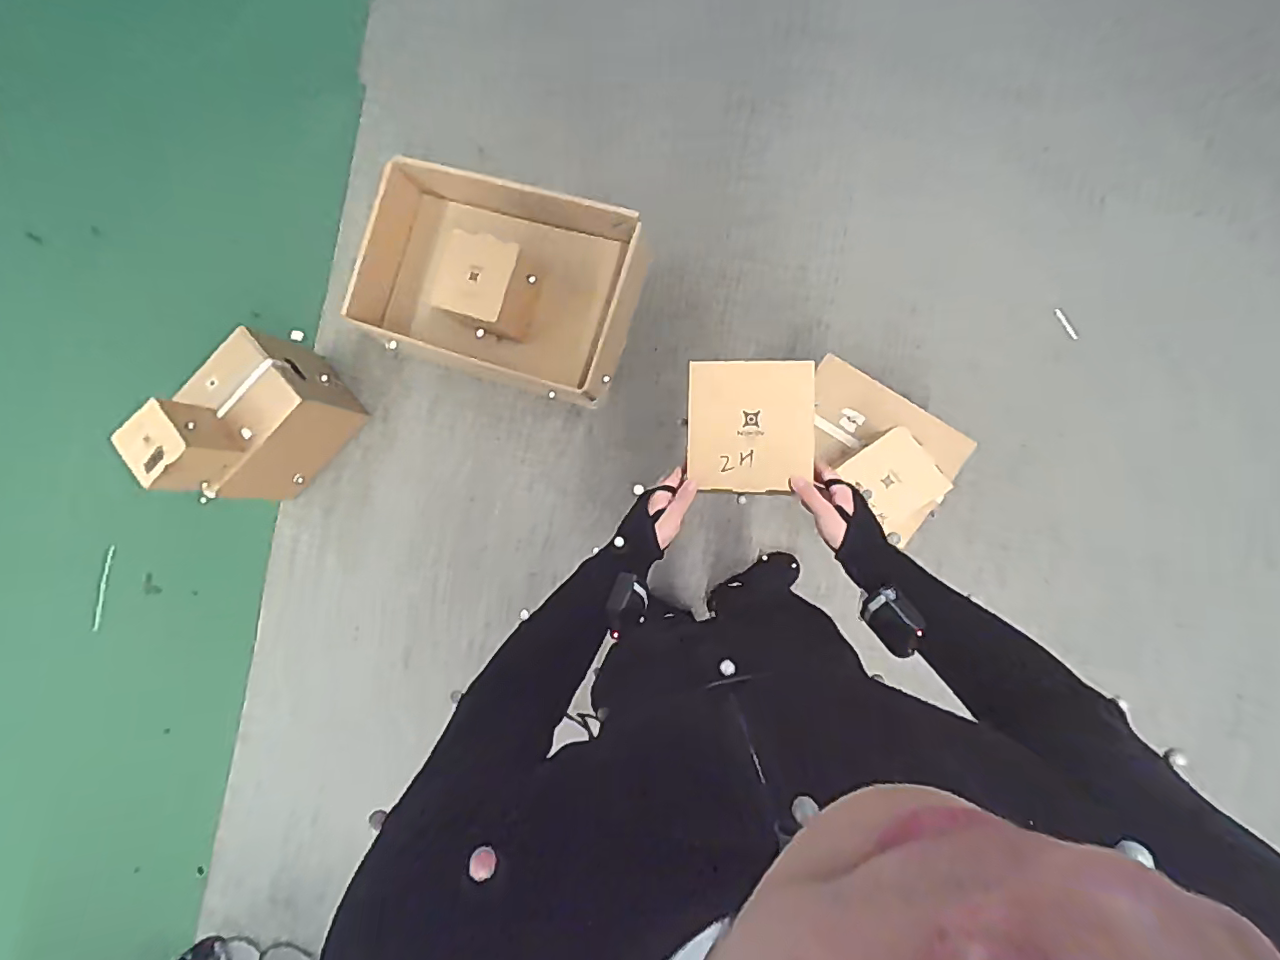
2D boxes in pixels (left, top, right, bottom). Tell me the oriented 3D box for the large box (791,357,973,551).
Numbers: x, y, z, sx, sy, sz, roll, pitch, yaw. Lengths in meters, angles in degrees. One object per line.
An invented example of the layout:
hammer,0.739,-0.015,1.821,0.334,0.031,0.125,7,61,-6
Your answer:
large box,0.548,-0.058,1.421,0.408,0.320,0.320,35,92,10

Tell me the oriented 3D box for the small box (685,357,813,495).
small box,0.150,-0.069,0.783,0.168,0.176,0.179,1,87,6

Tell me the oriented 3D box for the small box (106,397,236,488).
small box,-1.241,-0.094,1.444,0.168,0.176,0.179,-40,82,4

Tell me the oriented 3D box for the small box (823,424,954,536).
small box,0.525,0.001,1.173,0.179,0.176,0.168,-36,83,7
